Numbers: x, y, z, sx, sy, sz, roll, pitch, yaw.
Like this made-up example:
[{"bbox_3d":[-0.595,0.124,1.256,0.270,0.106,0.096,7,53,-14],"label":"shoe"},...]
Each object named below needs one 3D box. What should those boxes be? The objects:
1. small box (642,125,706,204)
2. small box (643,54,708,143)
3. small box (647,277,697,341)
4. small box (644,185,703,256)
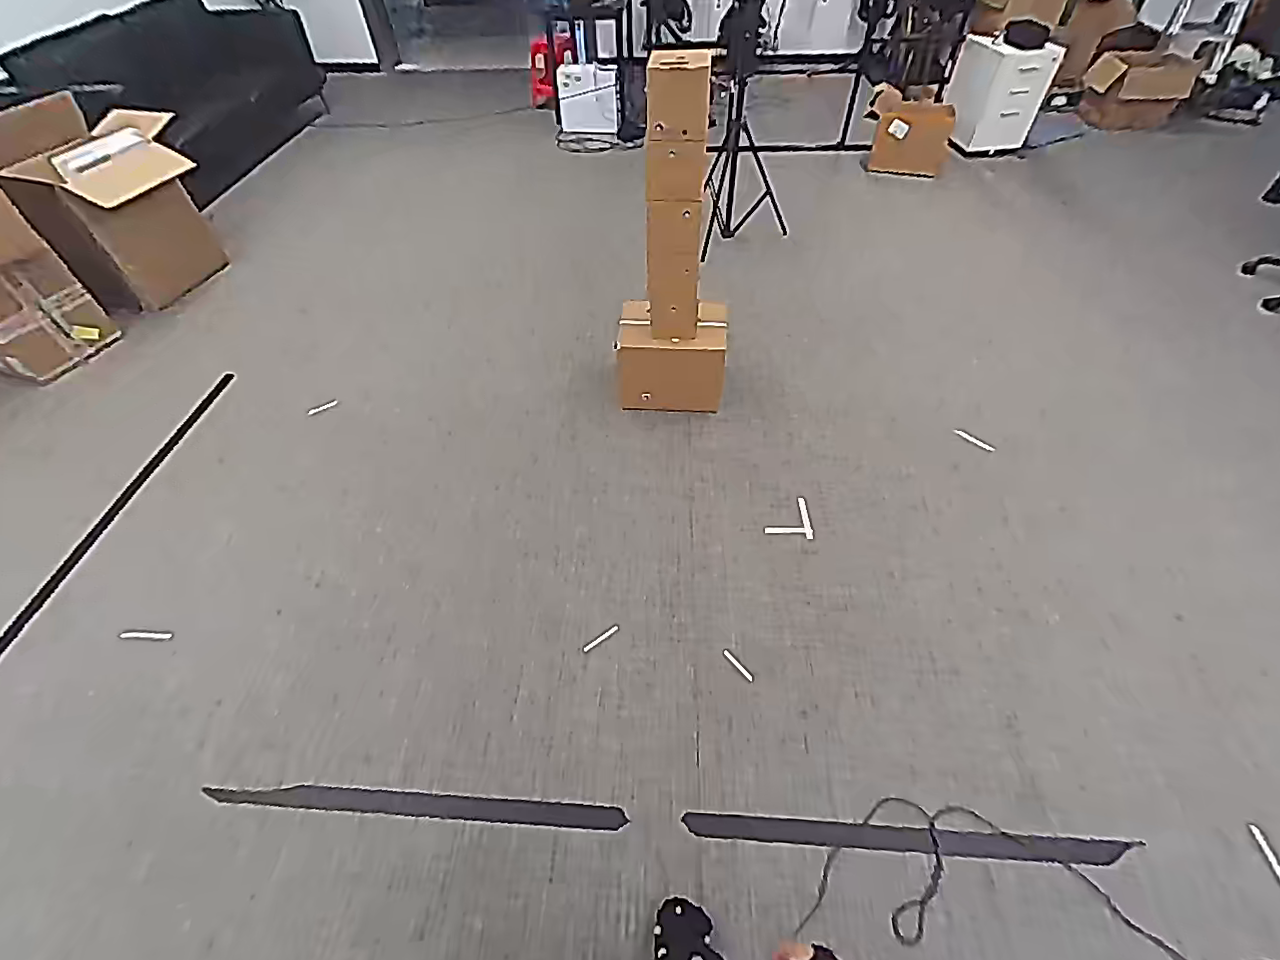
[{"bbox_3d":[0.103,-0.949,1.625,0.179,0.176,0.168,4,51,5],"label":"small box"},{"bbox_3d":[0.101,-1.055,1.500,0.168,0.176,0.179,4,50,5],"label":"small box"},{"bbox_3d":[0.118,-0.629,1.997,0.179,0.176,0.168,1,51,2],"label":"small box"},{"bbox_3d":[0.107,-0.844,1.748,0.179,0.176,0.168,3,50,5],"label":"small box"}]
